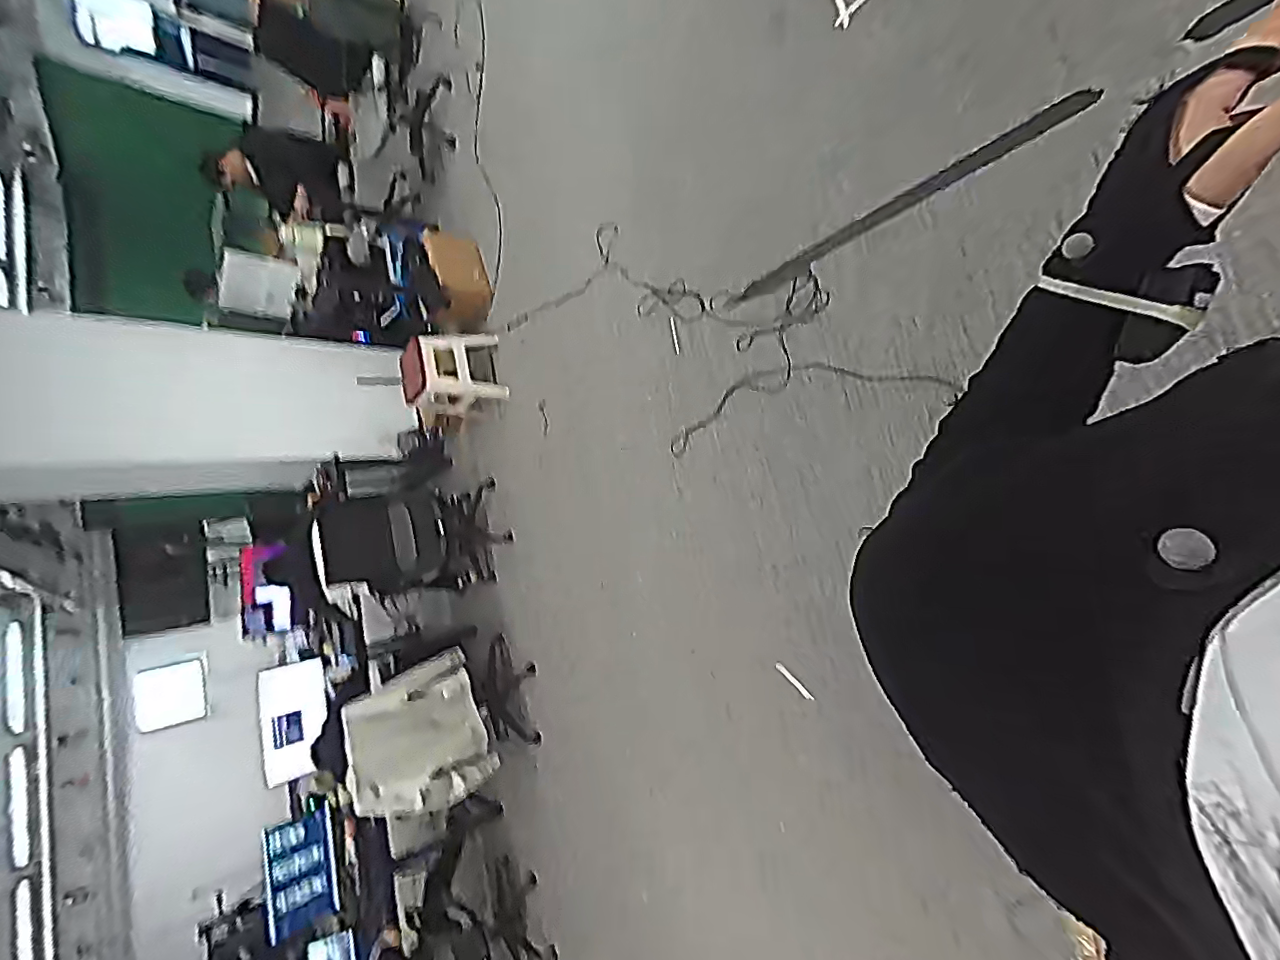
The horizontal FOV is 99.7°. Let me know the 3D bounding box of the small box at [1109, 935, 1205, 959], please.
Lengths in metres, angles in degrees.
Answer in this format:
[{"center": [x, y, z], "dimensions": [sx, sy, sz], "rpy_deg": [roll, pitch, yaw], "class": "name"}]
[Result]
[{"center": [0.638, 0.670, 0.594], "dimensions": [0.168, 0.176, 0.179], "rpy_deg": [-17, 78, 46], "class": "small box"}]
